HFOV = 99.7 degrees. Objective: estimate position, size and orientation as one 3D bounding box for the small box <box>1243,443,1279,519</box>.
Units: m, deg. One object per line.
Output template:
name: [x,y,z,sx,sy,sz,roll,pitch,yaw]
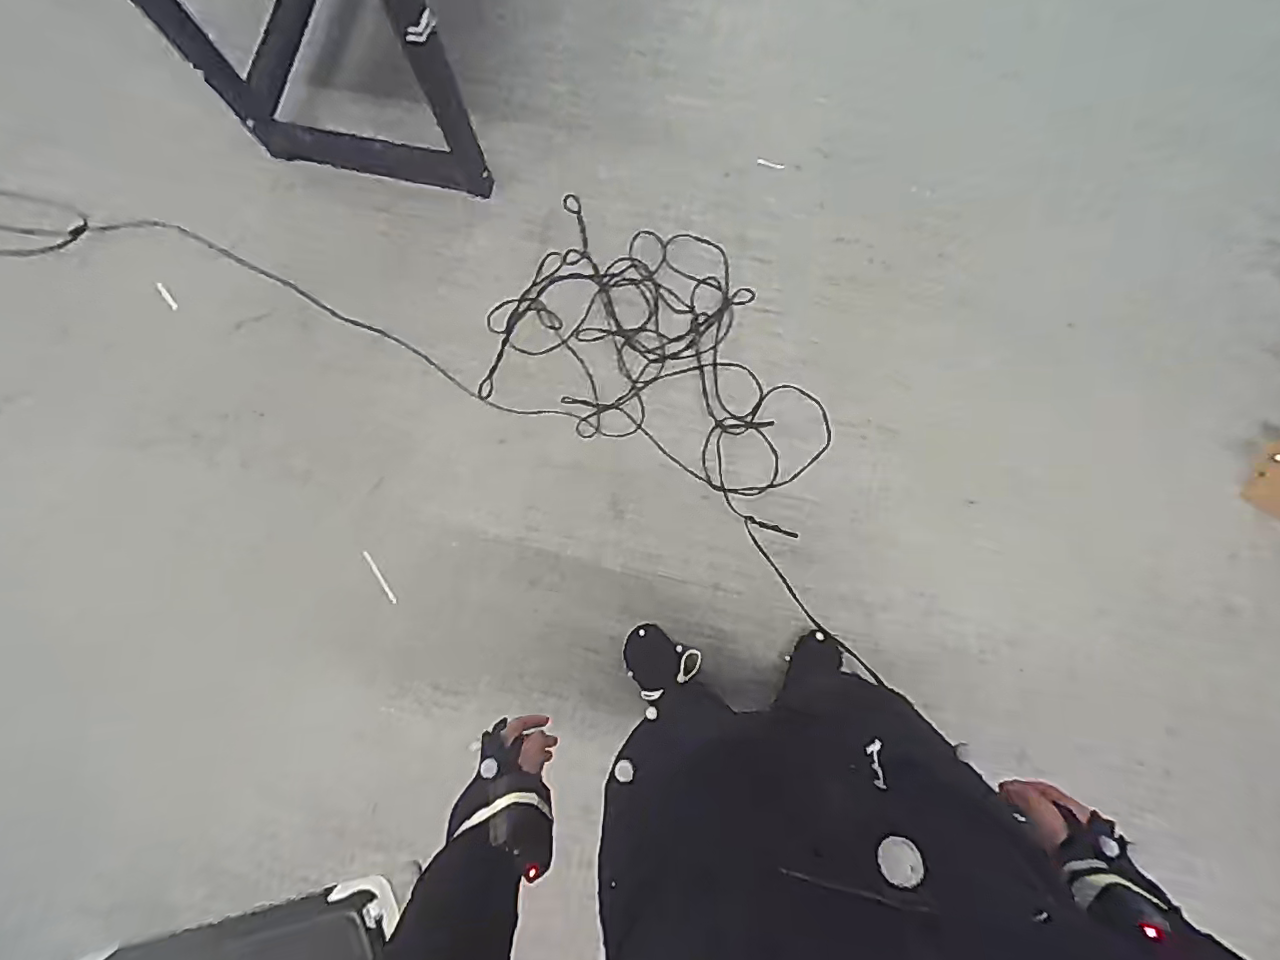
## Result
small box: [1.501,0.008,1.168,0.179,0.176,0.168,31,83,5]
